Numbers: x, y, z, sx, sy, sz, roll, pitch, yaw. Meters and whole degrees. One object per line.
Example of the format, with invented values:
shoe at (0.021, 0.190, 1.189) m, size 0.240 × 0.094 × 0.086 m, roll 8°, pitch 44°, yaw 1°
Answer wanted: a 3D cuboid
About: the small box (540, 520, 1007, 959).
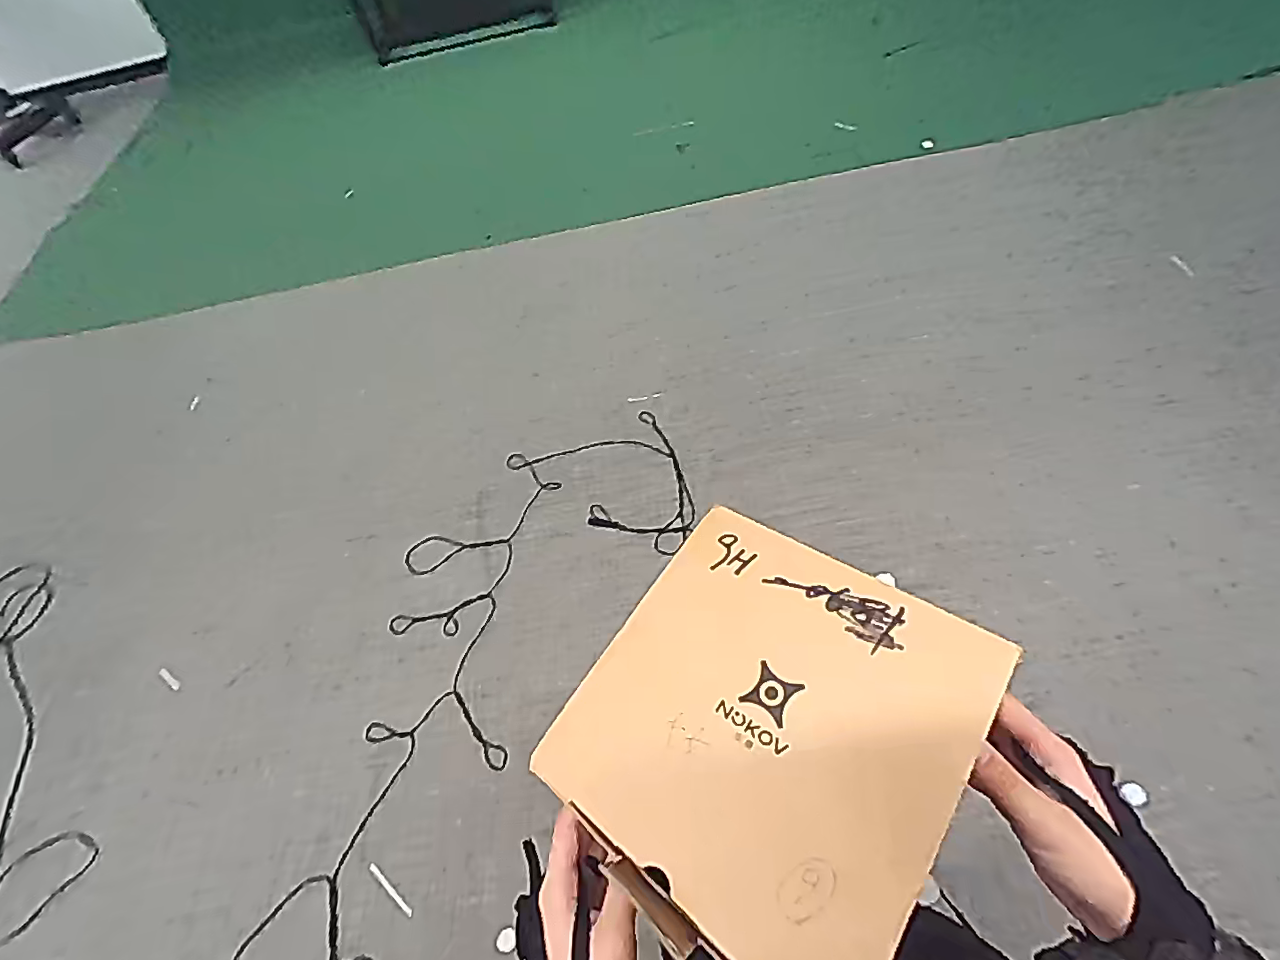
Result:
small box at (0.080, 0.162, 0.324) m, size 0.168 × 0.176 × 0.179 m, roll 26°, pitch 66°, yaw 32°
